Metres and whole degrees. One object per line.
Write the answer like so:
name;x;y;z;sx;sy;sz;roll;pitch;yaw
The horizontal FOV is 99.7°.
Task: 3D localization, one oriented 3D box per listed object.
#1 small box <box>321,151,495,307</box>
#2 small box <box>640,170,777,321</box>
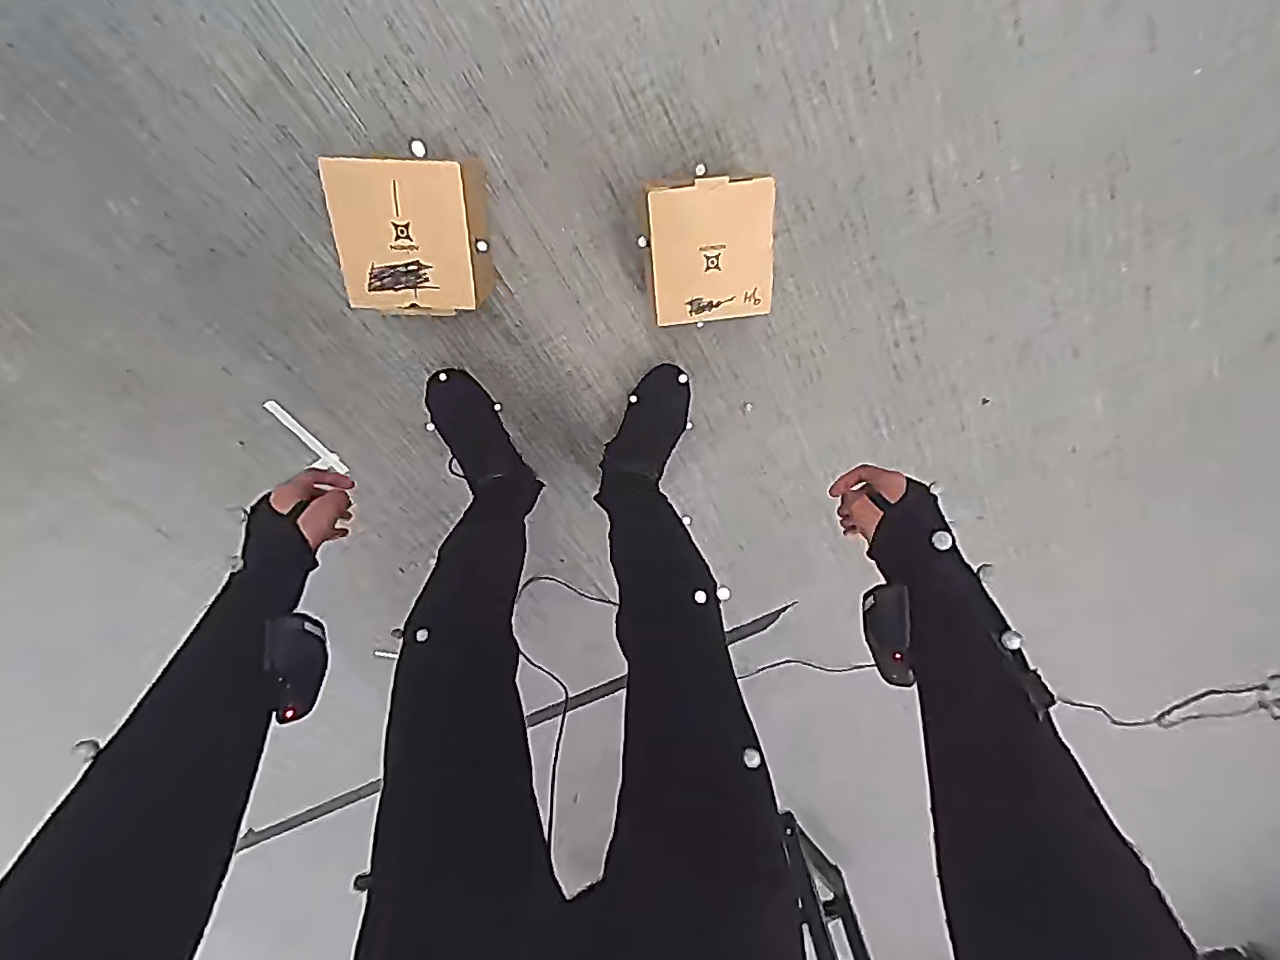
small box;-0.302;-0.350;0.750;0.168;0.176;0.179;-1;121;-5
small box;0.092;-0.346;0.790;0.168;0.176;0.179;-7;121;-1
